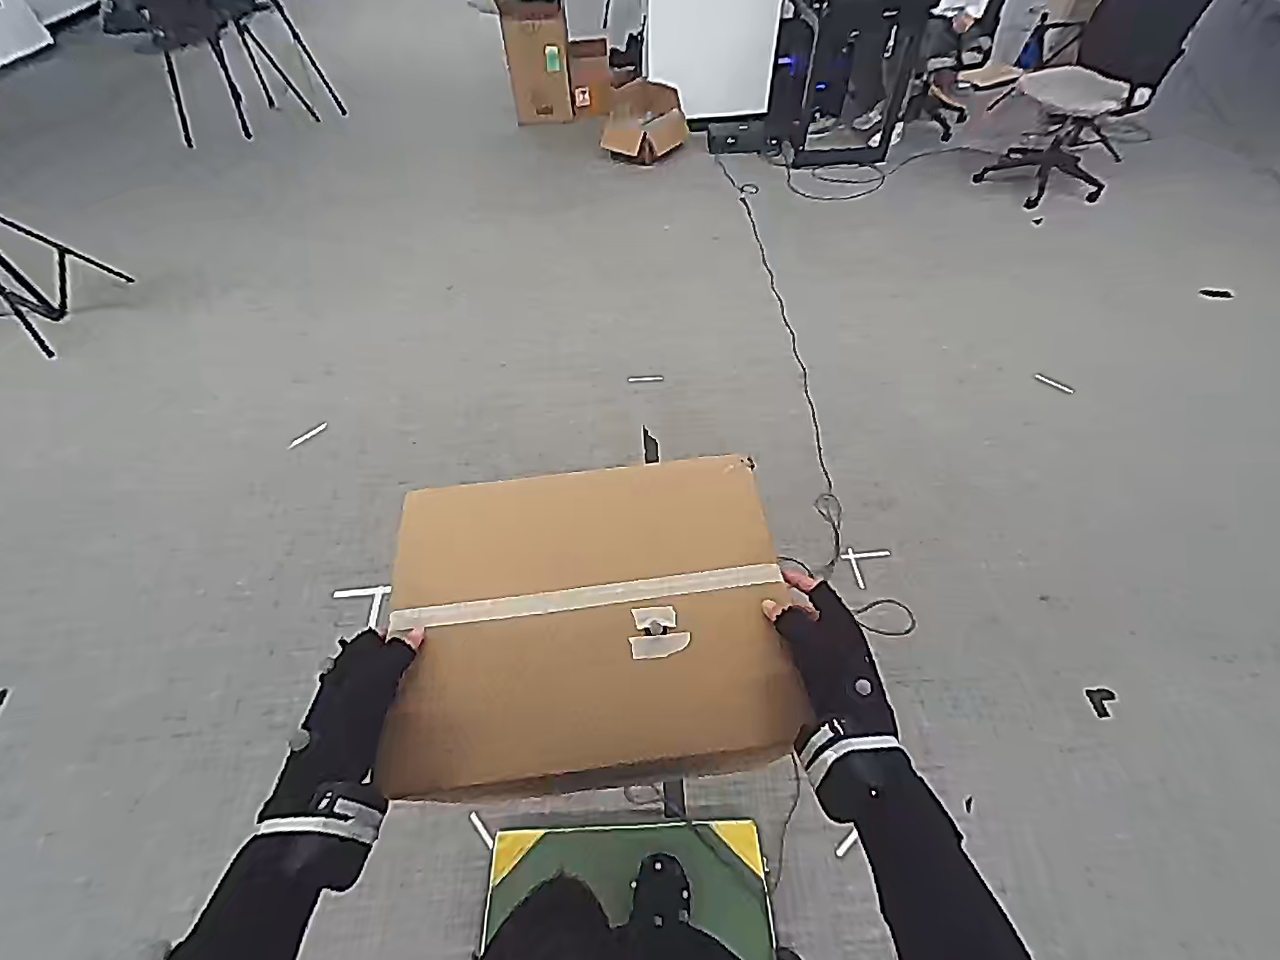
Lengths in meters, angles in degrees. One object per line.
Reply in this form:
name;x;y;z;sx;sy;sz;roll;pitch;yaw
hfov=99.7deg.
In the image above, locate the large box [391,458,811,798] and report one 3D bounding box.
large box;-0.050;0.203;0.704;0.408;0.320;0.320;-6;58;-3
